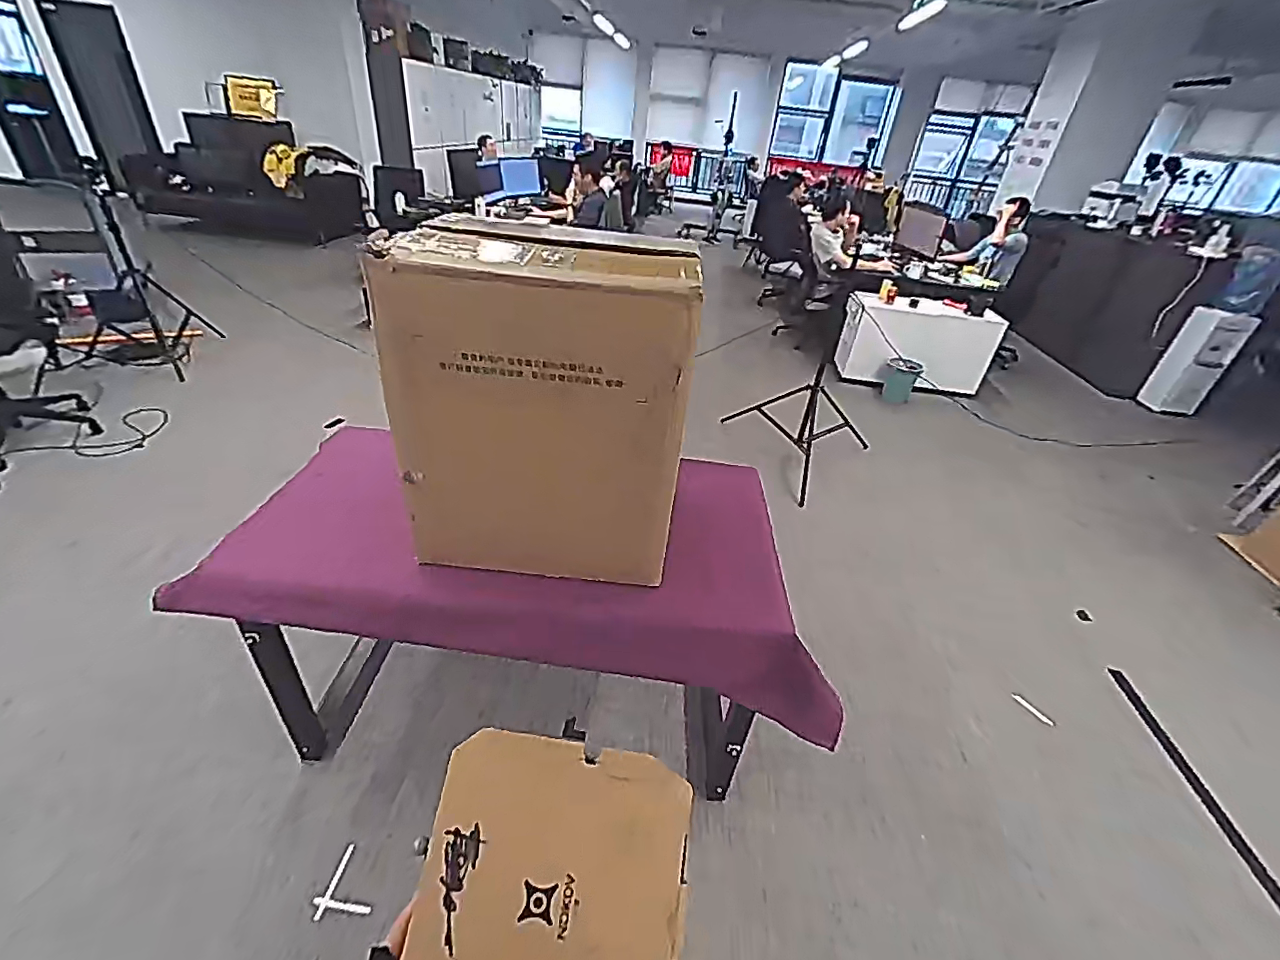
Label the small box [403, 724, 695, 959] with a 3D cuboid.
[{"bbox_3d":[-0.069,0.299,0.433,0.179,0.176,0.168,12,67,-6],"label":"small box"}]
